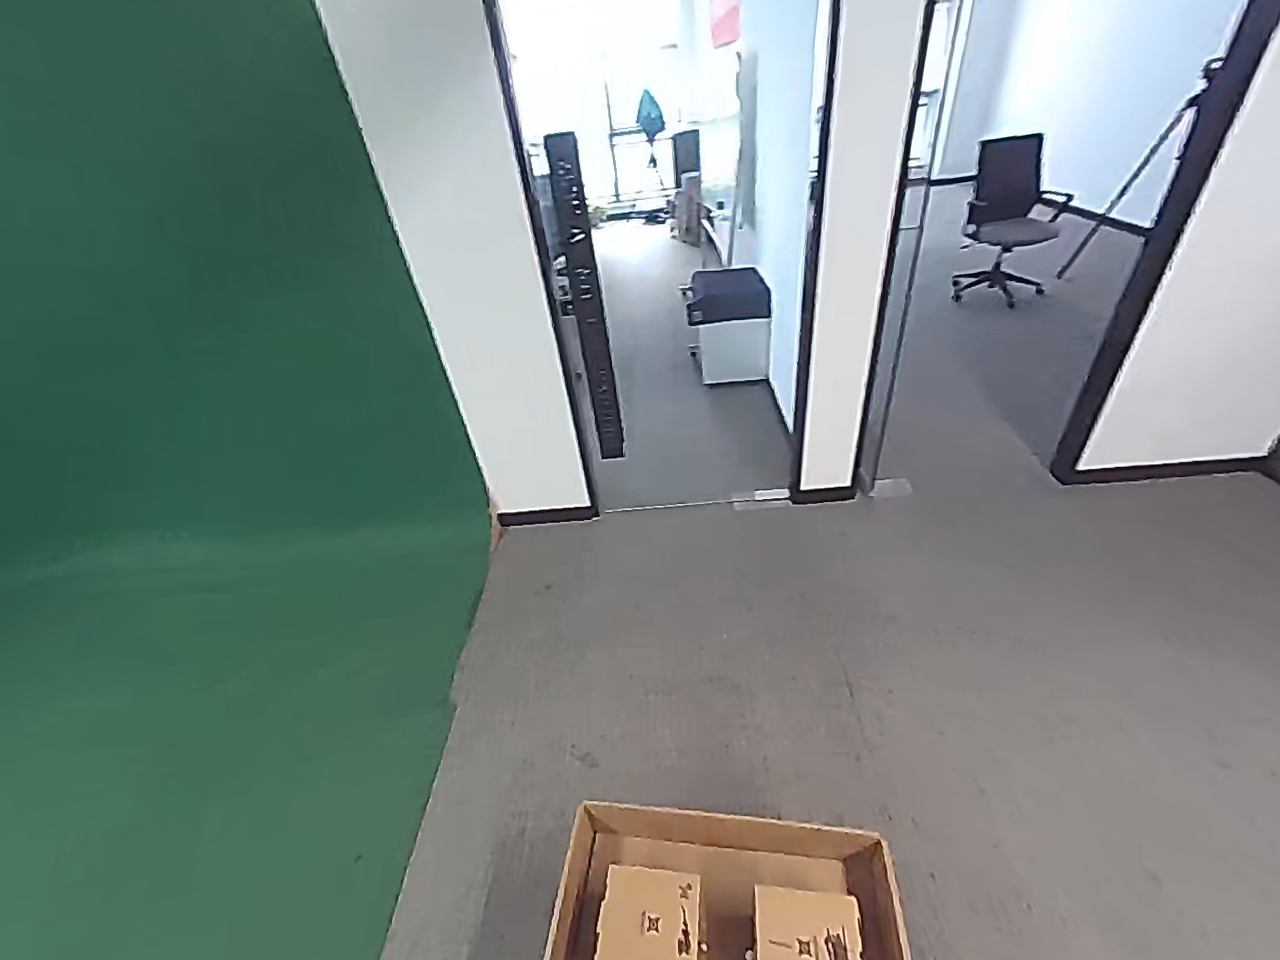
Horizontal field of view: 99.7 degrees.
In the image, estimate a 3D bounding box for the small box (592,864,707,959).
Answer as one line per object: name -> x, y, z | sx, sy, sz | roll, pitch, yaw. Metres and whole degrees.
small box -> 0.025, 0.838, 0.987 | 0.179, 0.176, 0.168 | -1, 36, 11
